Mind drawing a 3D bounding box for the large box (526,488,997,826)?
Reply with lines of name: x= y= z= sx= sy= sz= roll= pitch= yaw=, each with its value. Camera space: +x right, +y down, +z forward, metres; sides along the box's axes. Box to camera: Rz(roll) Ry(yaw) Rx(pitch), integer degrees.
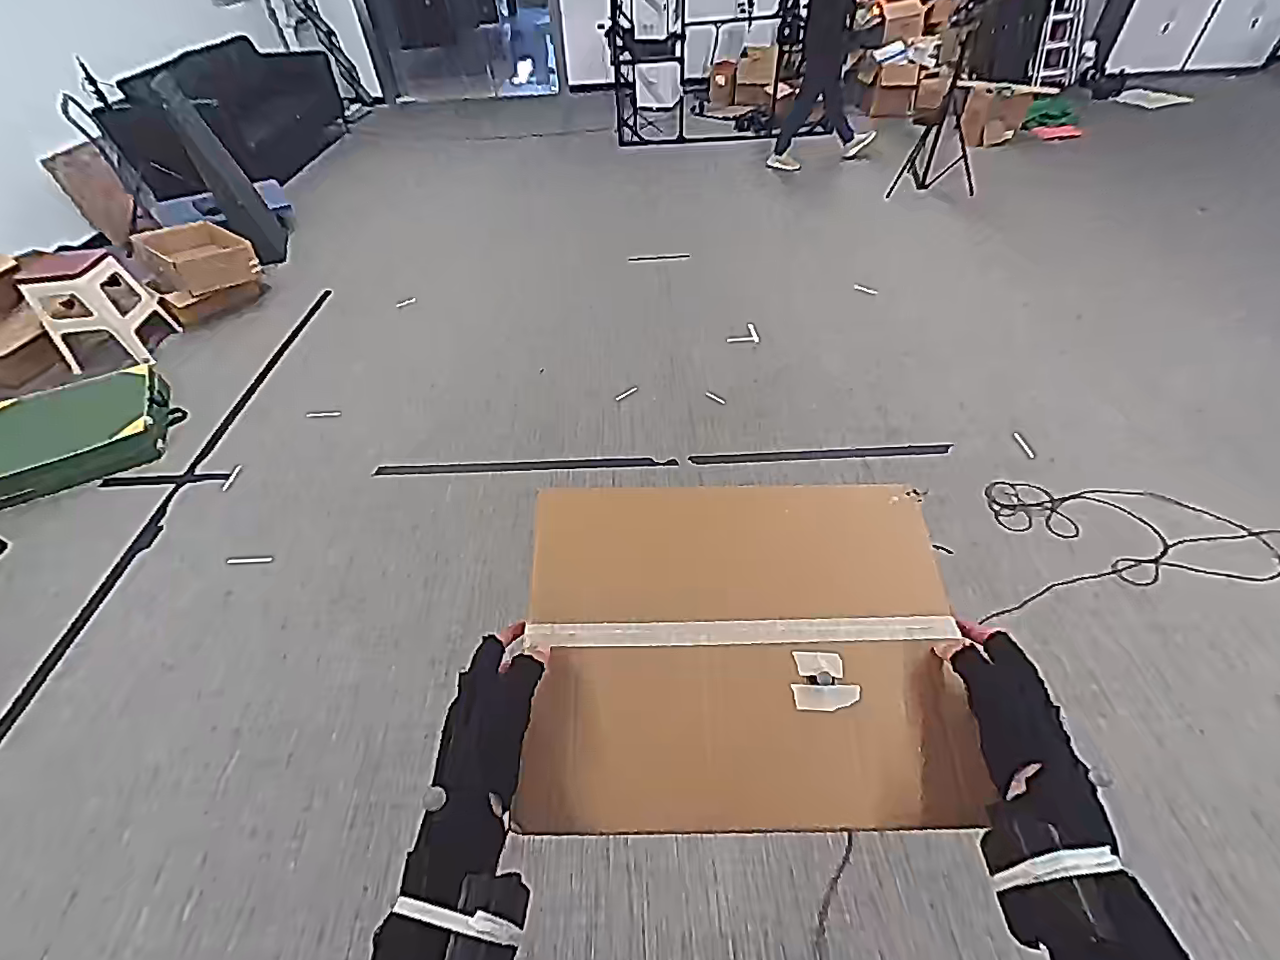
large box: x=0.097 y=0.220 z=0.649 sx=0.408 sy=0.320 sz=0.320 roll=-1 pitch=60 yaw=0
